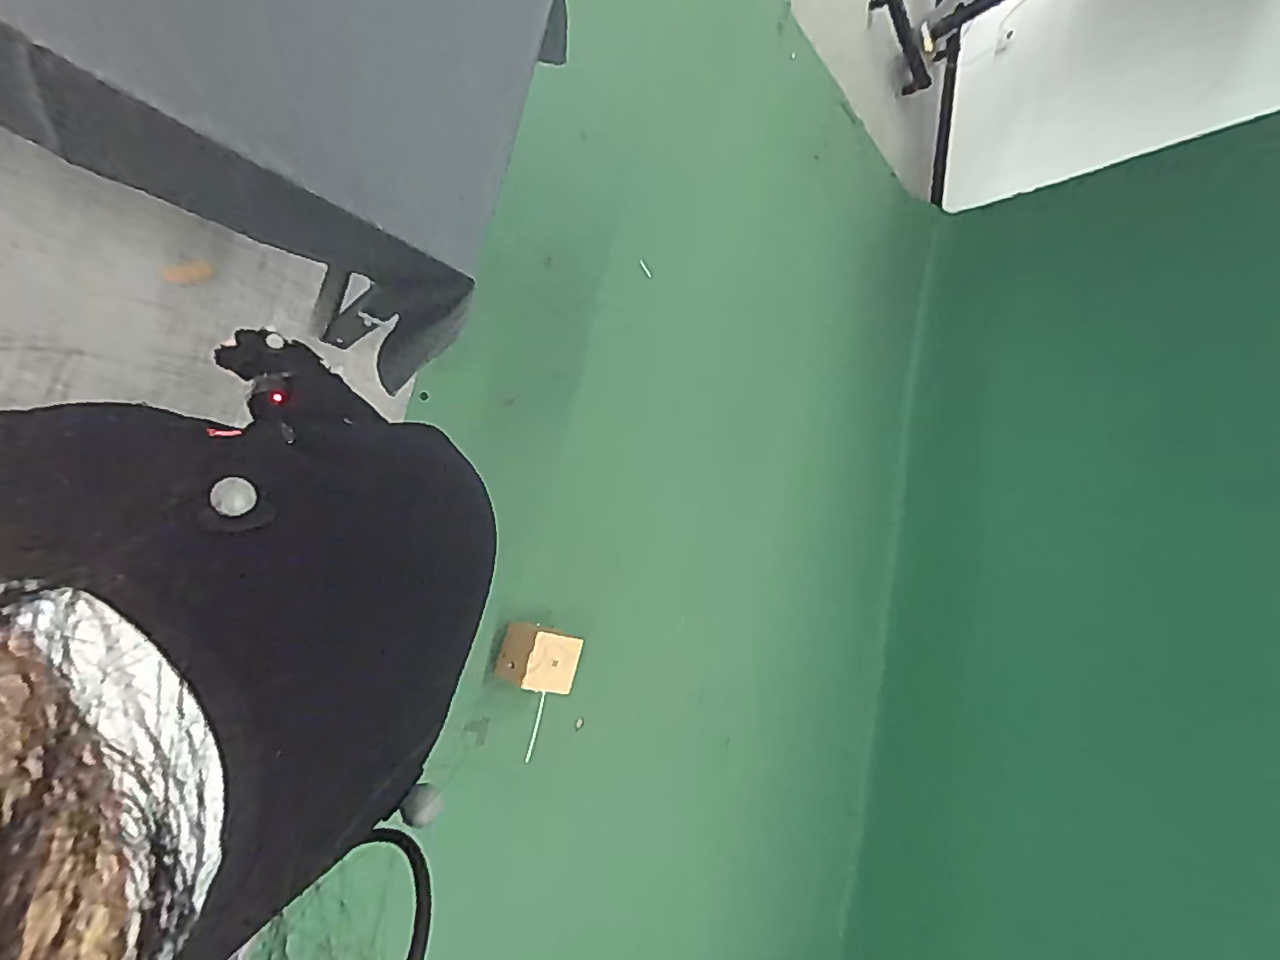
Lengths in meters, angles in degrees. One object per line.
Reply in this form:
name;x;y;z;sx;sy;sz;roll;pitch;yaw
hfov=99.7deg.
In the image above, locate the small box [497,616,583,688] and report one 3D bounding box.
small box;-0.311;0.524;1.661;0.179;0.176;0.168;26;74;-39
